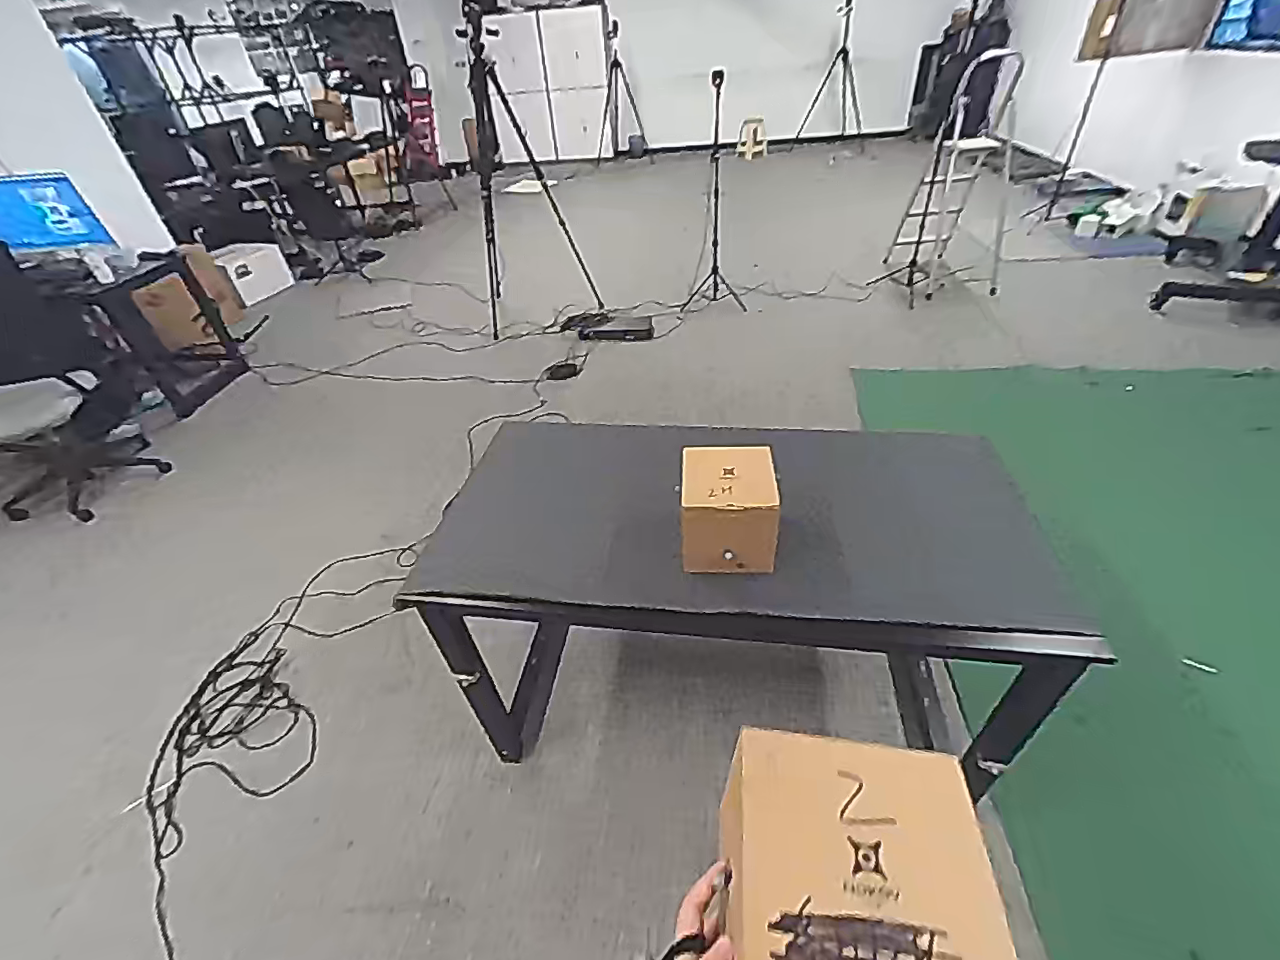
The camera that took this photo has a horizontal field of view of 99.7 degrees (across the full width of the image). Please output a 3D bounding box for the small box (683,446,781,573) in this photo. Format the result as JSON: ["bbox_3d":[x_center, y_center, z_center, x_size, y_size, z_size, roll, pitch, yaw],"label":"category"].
[{"bbox_3d":[0.166,0.051,1.014,0.168,0.176,0.179,-1,38,7],"label":"small box"}]
